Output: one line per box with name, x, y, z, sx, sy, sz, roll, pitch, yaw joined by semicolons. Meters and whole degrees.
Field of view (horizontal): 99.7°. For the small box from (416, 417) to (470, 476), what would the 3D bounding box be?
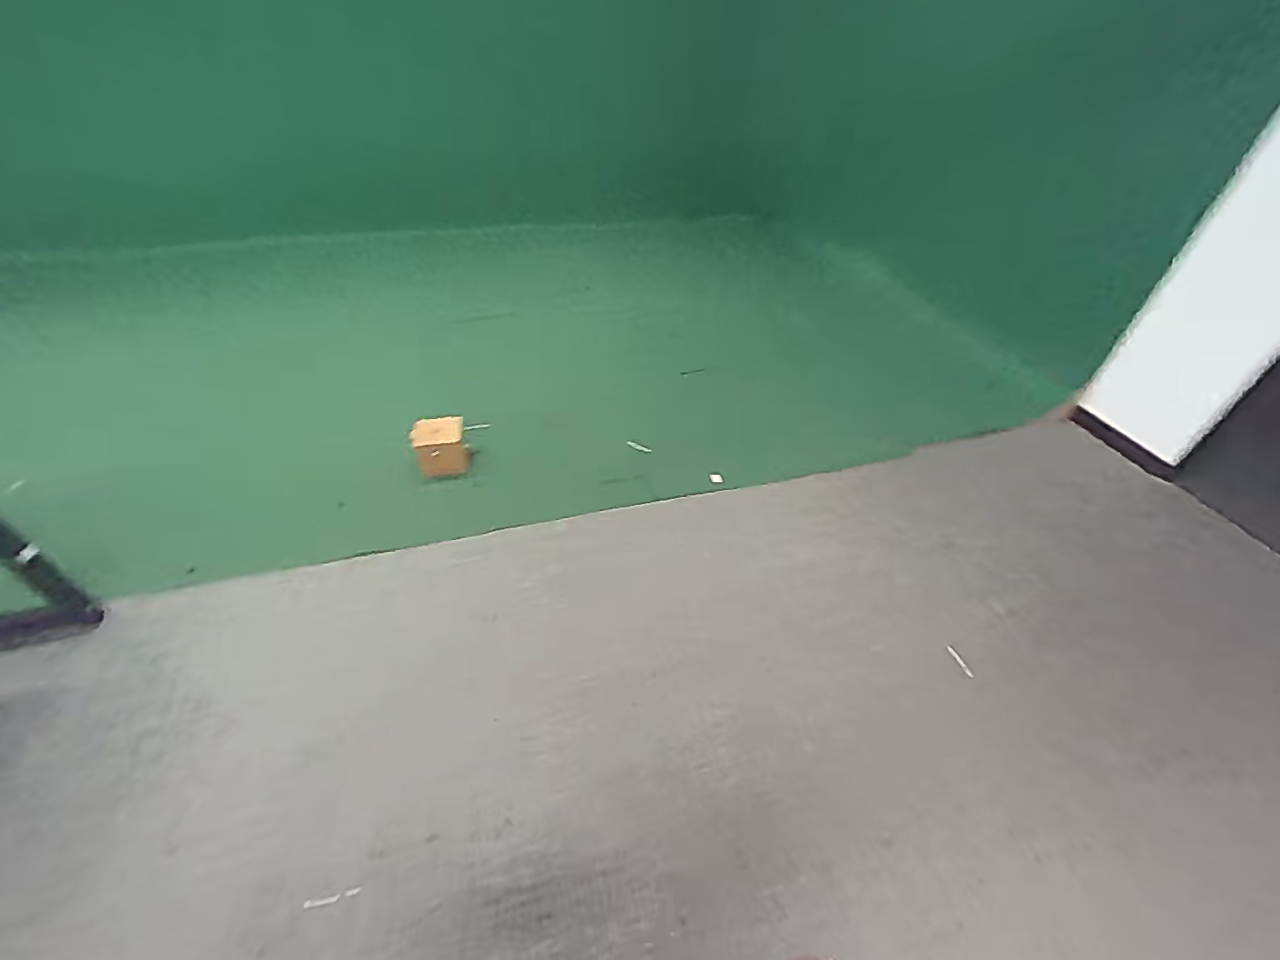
small box;-0.789;-0.134;2.186;0.179;0.176;0.168;-7;44;-10
